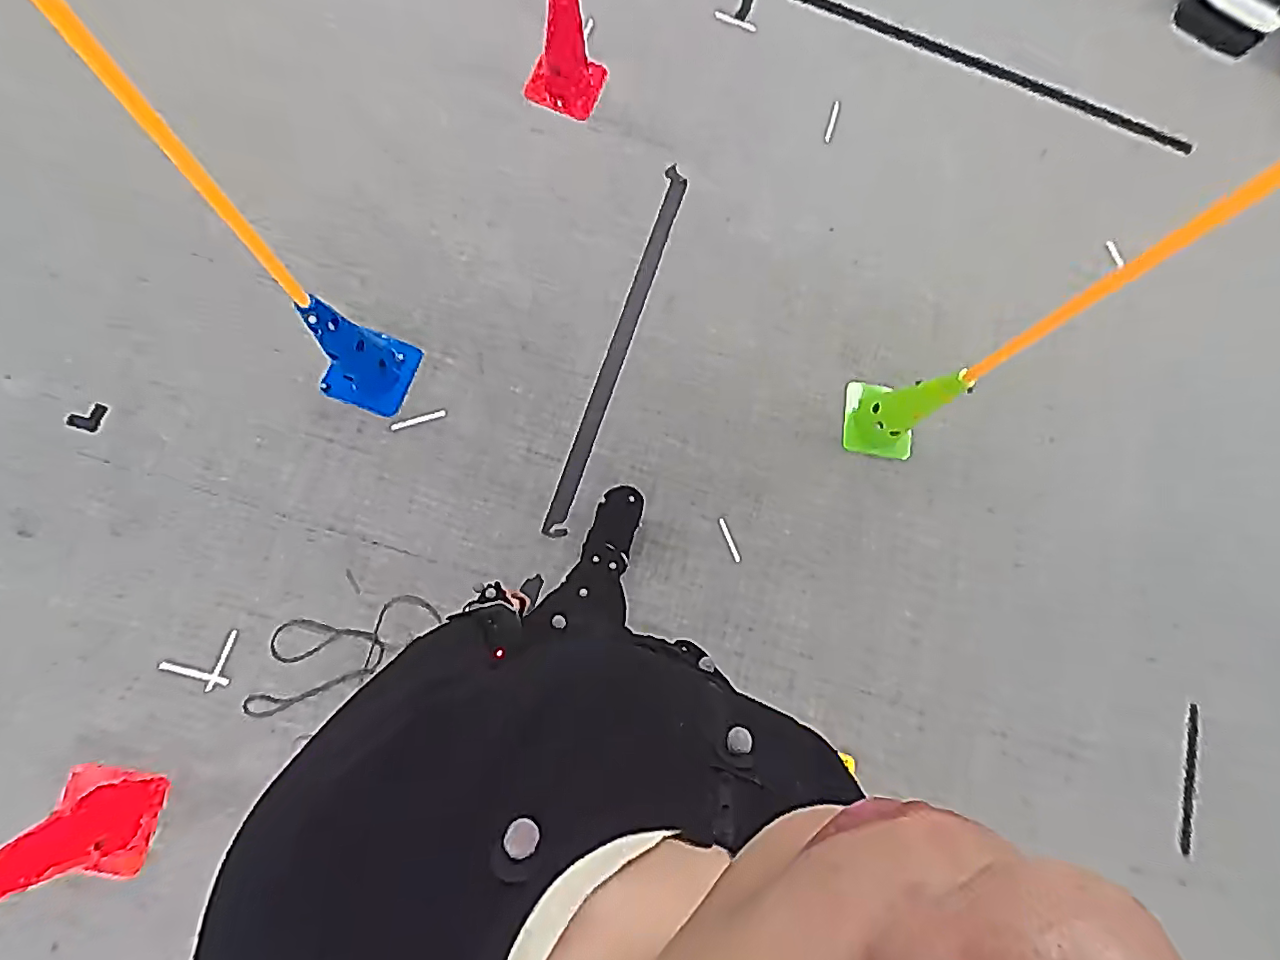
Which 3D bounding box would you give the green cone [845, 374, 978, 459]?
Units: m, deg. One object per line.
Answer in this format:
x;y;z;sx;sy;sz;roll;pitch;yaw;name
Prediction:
0.691;-0.191;1.344;0.200;0.368;0.202;8;81;-5;green cone

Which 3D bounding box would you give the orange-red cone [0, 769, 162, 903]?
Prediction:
-1.109;0.694;0.966;0.199;0.360;0.198;14;79;-5;orange-red cone

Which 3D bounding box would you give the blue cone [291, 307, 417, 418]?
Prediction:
-0.664;-0.293;1.214;0.193;0.380;0.192;21;79;-2;blue cone
